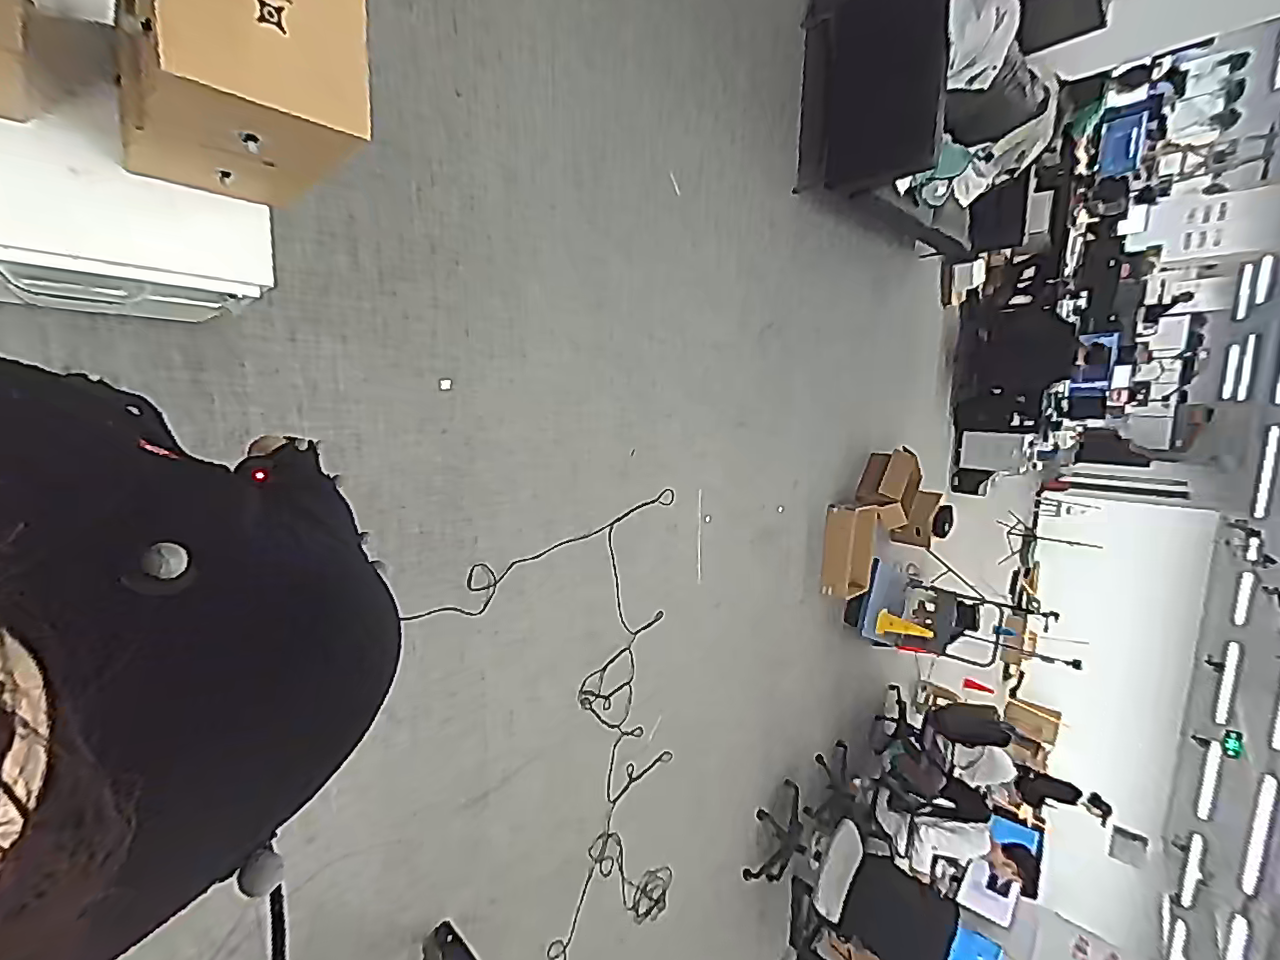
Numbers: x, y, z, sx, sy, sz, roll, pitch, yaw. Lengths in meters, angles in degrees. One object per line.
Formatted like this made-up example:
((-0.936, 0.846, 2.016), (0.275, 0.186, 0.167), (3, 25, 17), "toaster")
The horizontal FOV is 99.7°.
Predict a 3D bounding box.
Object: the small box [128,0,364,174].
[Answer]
((-0.394, -0.438, 0.544), (0.168, 0.176, 0.179), (-7, 102, -46), "small box")
